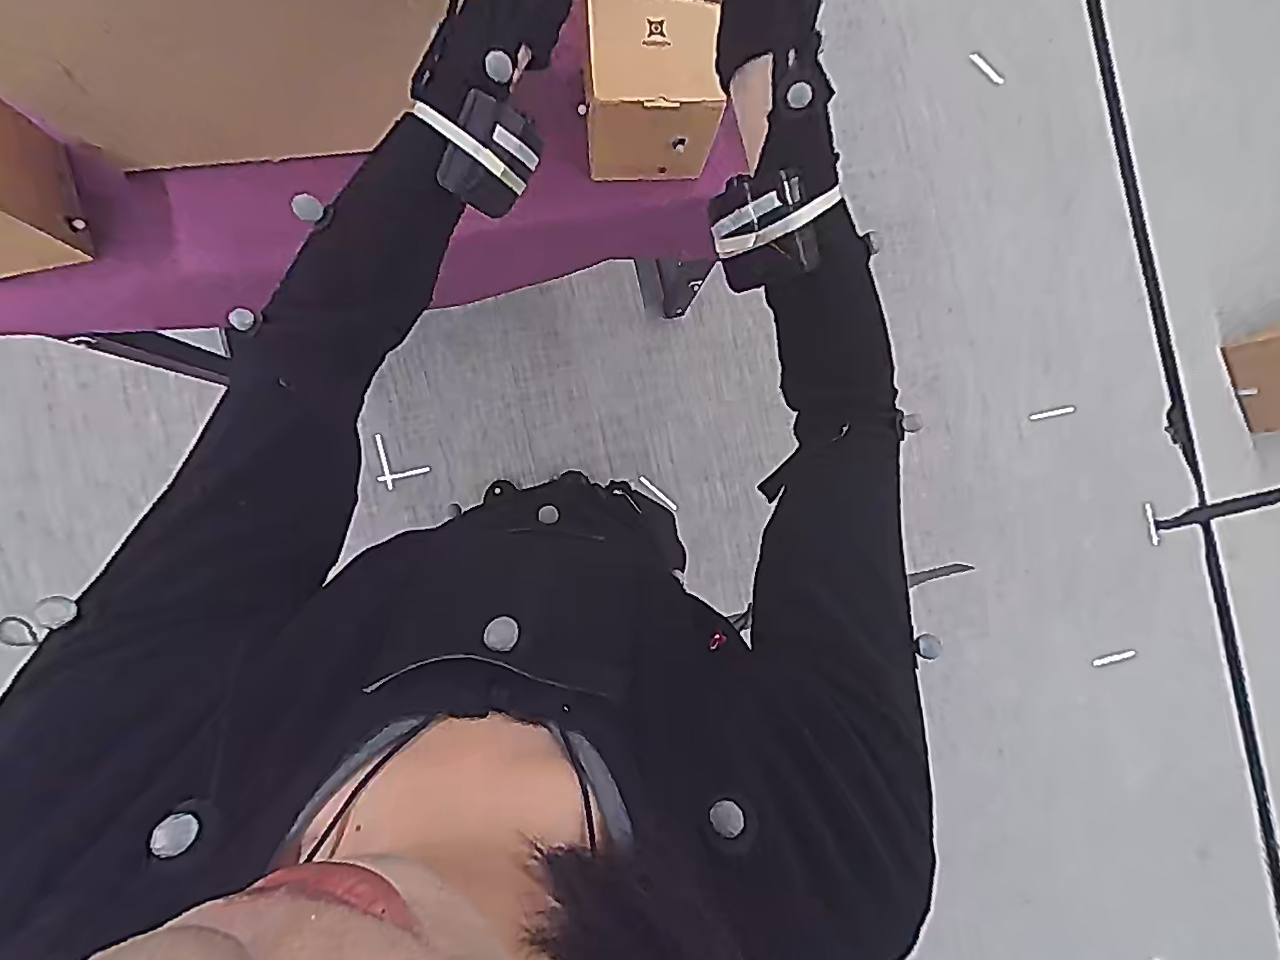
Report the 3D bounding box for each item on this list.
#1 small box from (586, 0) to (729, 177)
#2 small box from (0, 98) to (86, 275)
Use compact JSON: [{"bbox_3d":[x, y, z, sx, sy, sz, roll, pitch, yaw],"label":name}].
[{"bbox_3d":[0.015,-0.537,0.732,0.168,0.176,0.179,-4,88,-7],"label":"small box"},{"bbox_3d":[-0.808,-0.354,0.625,0.179,0.176,0.168,-17,90,-8],"label":"small box"}]
